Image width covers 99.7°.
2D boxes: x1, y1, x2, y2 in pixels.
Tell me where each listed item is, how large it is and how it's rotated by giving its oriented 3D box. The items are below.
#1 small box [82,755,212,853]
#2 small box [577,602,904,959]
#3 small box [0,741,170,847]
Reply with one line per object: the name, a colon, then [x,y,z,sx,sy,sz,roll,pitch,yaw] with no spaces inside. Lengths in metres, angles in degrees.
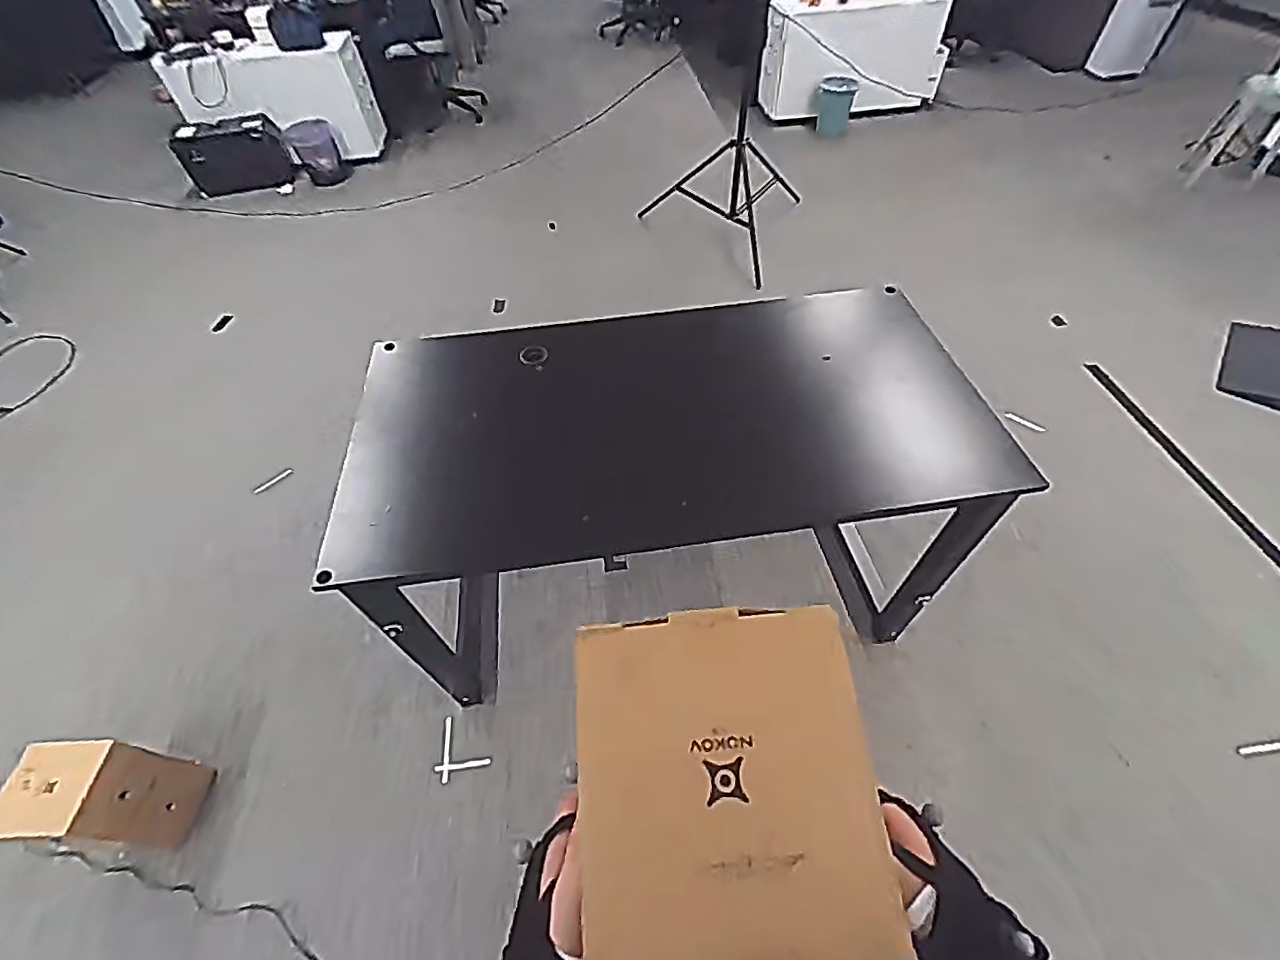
small box: [-1.144,0.745,1.245,0.168,0.176,0.179,0,52,3]
small box: [0.049,0.195,0.379,0.168,0.176,0.179,-5,65,0]
small box: [-1.139,0.647,1.112,0.179,0.176,0.168,-3,51,1]
